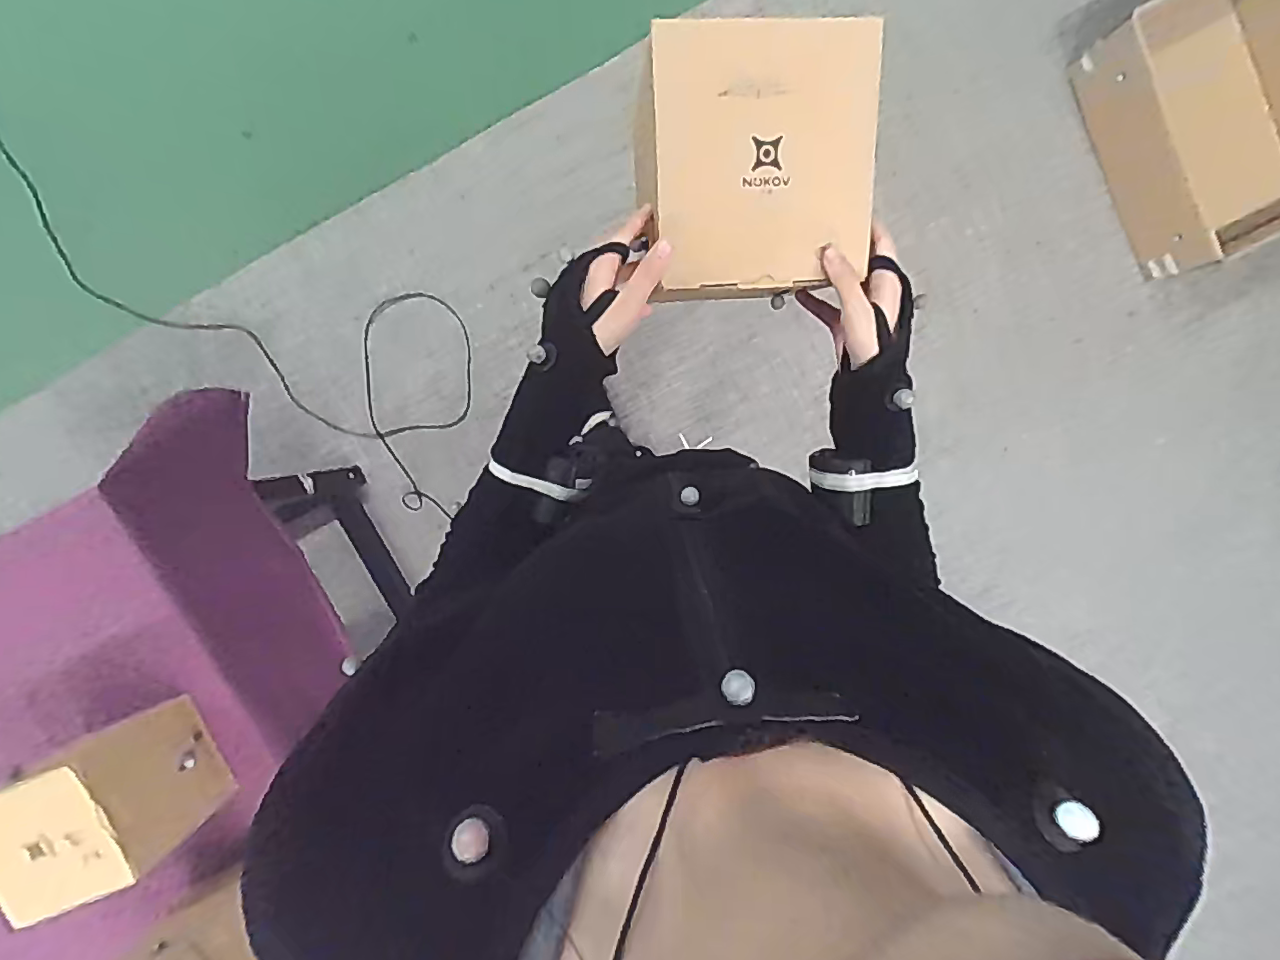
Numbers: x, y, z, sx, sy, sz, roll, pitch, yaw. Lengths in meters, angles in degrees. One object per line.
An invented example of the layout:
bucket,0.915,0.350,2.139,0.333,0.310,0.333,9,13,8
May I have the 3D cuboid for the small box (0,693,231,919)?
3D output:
small box,-0.715,0.421,0.725,0.179,0.176,0.168,-22,95,3
